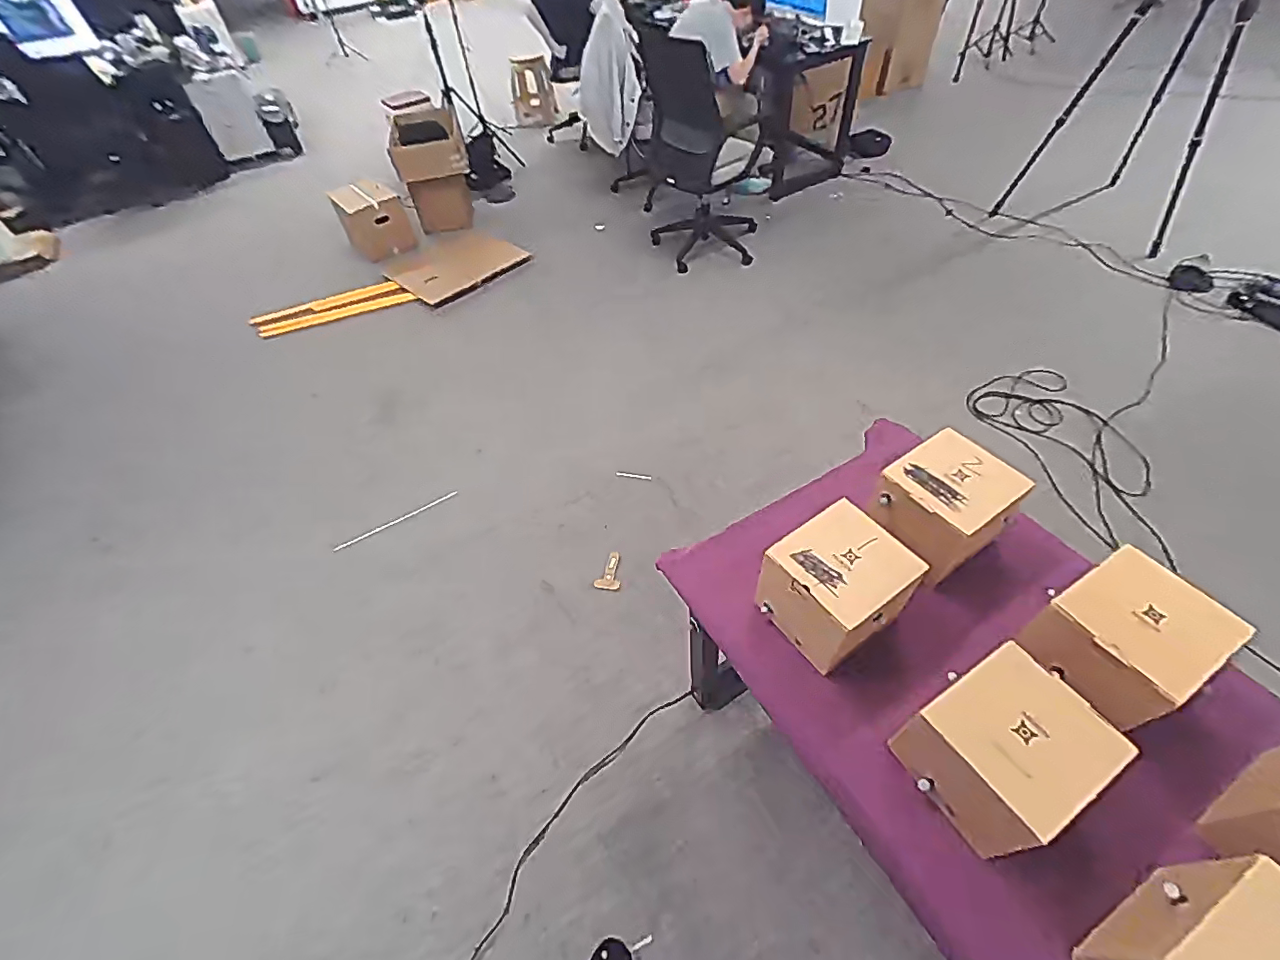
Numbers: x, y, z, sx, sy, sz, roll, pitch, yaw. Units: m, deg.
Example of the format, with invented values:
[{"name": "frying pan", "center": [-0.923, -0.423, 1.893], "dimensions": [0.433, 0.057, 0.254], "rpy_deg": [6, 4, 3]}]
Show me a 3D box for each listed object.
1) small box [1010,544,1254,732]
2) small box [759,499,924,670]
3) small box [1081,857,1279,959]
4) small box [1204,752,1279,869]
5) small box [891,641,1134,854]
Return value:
[{"name": "small box", "center": [0.683, 0.230, 0.778], "dimensions": [0.179, 0.176, 0.168], "rpy_deg": [-29, 53, -15]}, {"name": "small box", "center": [0.308, 0.171, 0.867], "dimensions": [0.179, 0.176, 0.168], "rpy_deg": [-29, 54, -19]}, {"name": "small box", "center": [0.607, 0.522, 0.545], "dimensions": [0.179, 0.176, 0.168], "rpy_deg": [-26, 52, -15]}, {"name": "small box", "center": [0.819, 0.410, 0.610], "dimensions": [0.179, 0.176, 0.168], "rpy_deg": [-27, 52, -14]}, {"name": "small box", "center": [0.463, 0.349, 0.706], "dimensions": [0.179, 0.176, 0.168], "rpy_deg": [-28, 52, -15]}]
